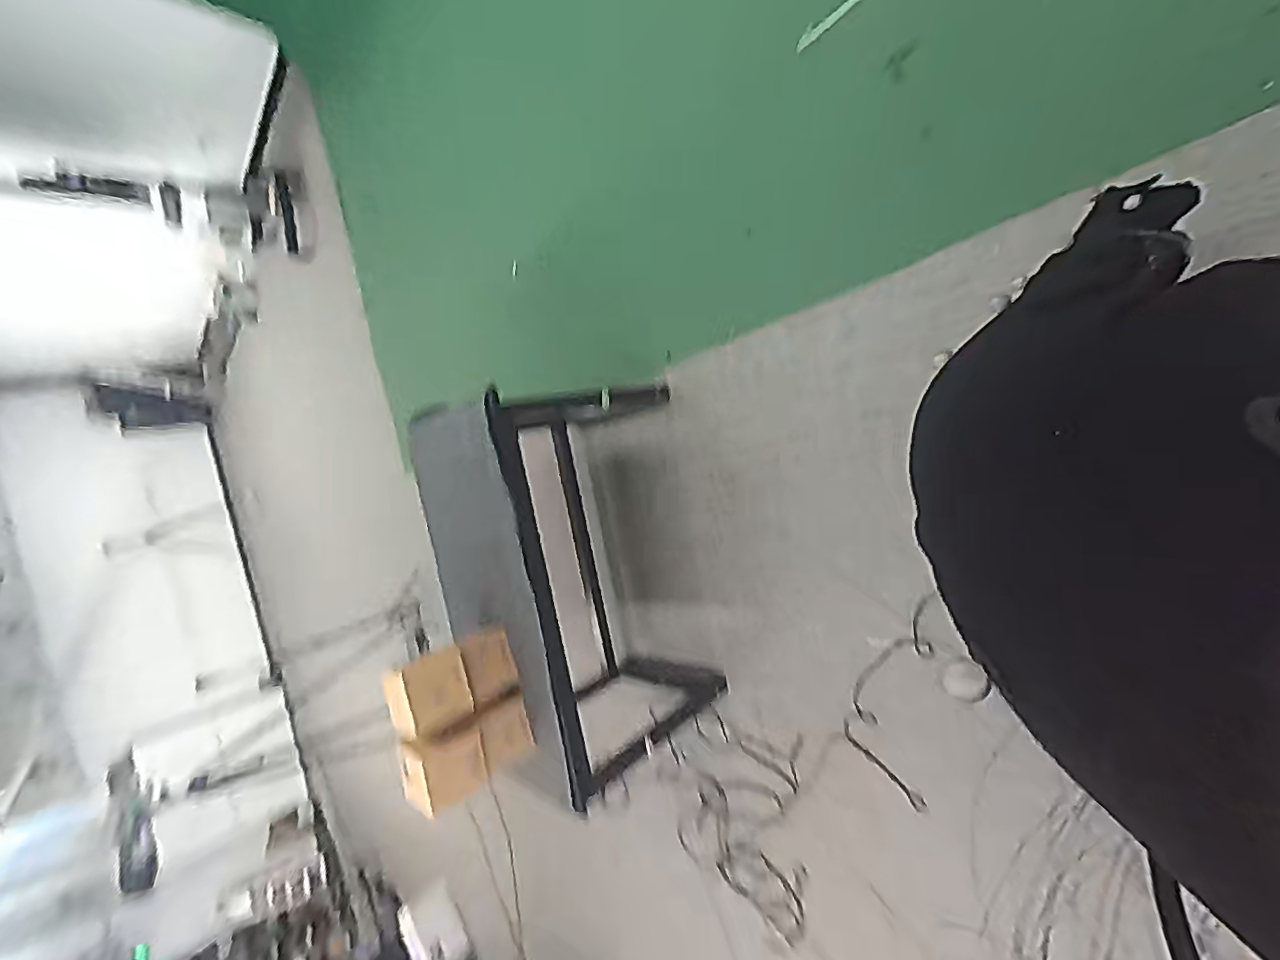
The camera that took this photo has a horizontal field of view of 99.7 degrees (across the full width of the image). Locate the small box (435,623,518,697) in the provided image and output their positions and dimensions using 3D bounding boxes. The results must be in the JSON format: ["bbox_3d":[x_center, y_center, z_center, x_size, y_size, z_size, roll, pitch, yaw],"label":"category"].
[{"bbox_3d":[-0.488,0.542,1.634,0.179,0.176,0.168,-23,83,46],"label":"small box"}]

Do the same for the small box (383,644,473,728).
[{"bbox_3d":[-0.582,0.564,1.502,0.179,0.176,0.168,-20,85,46],"label":"small box"}]
